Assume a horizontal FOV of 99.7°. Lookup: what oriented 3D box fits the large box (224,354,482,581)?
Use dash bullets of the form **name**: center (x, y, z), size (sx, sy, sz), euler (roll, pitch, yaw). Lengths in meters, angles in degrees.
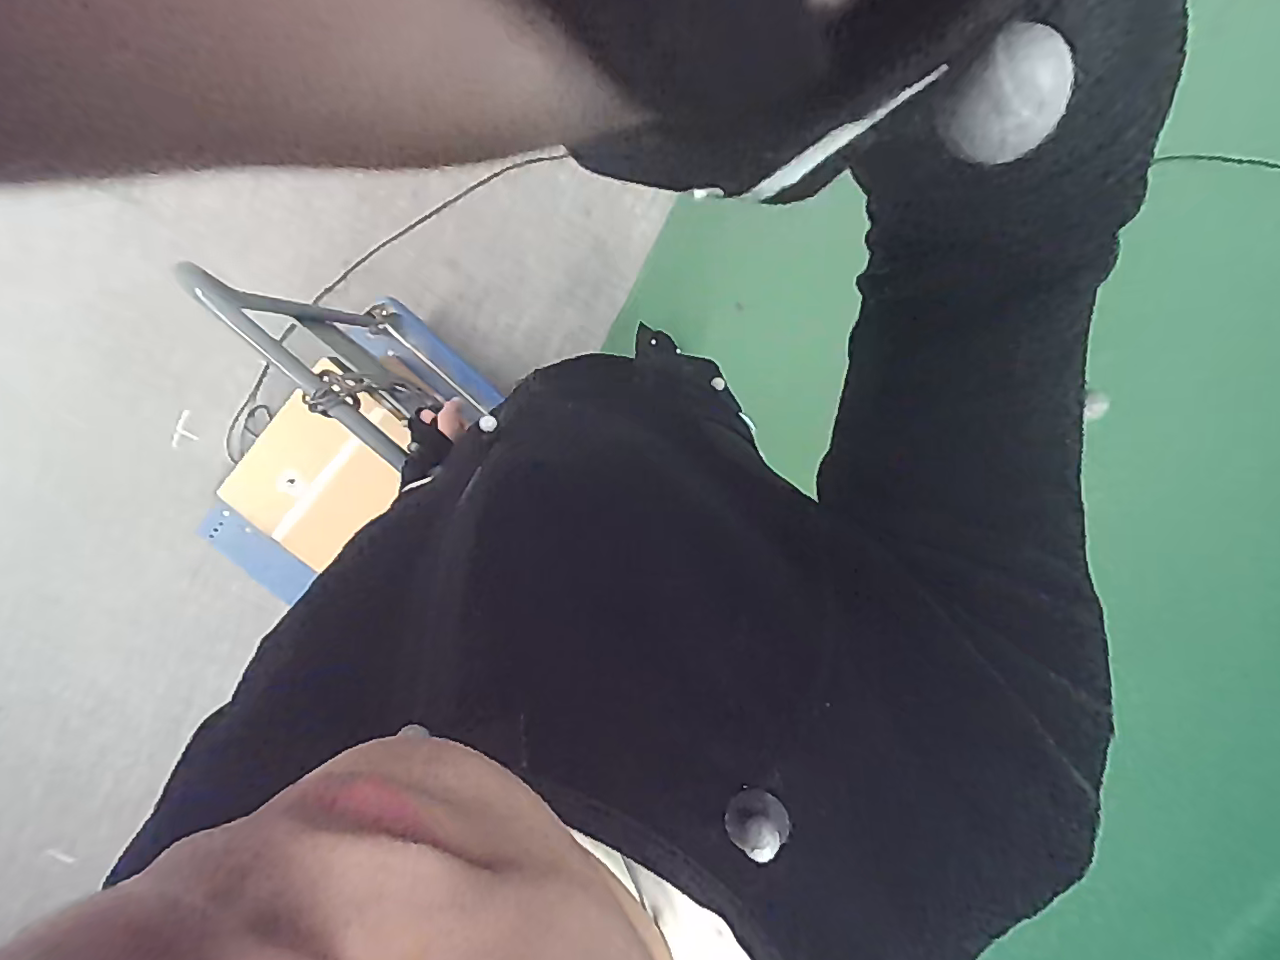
- **large box**: center (-0.652, -0.049, 1.294), size (0.320, 0.320, 0.408), euler (43, 101, -8)
